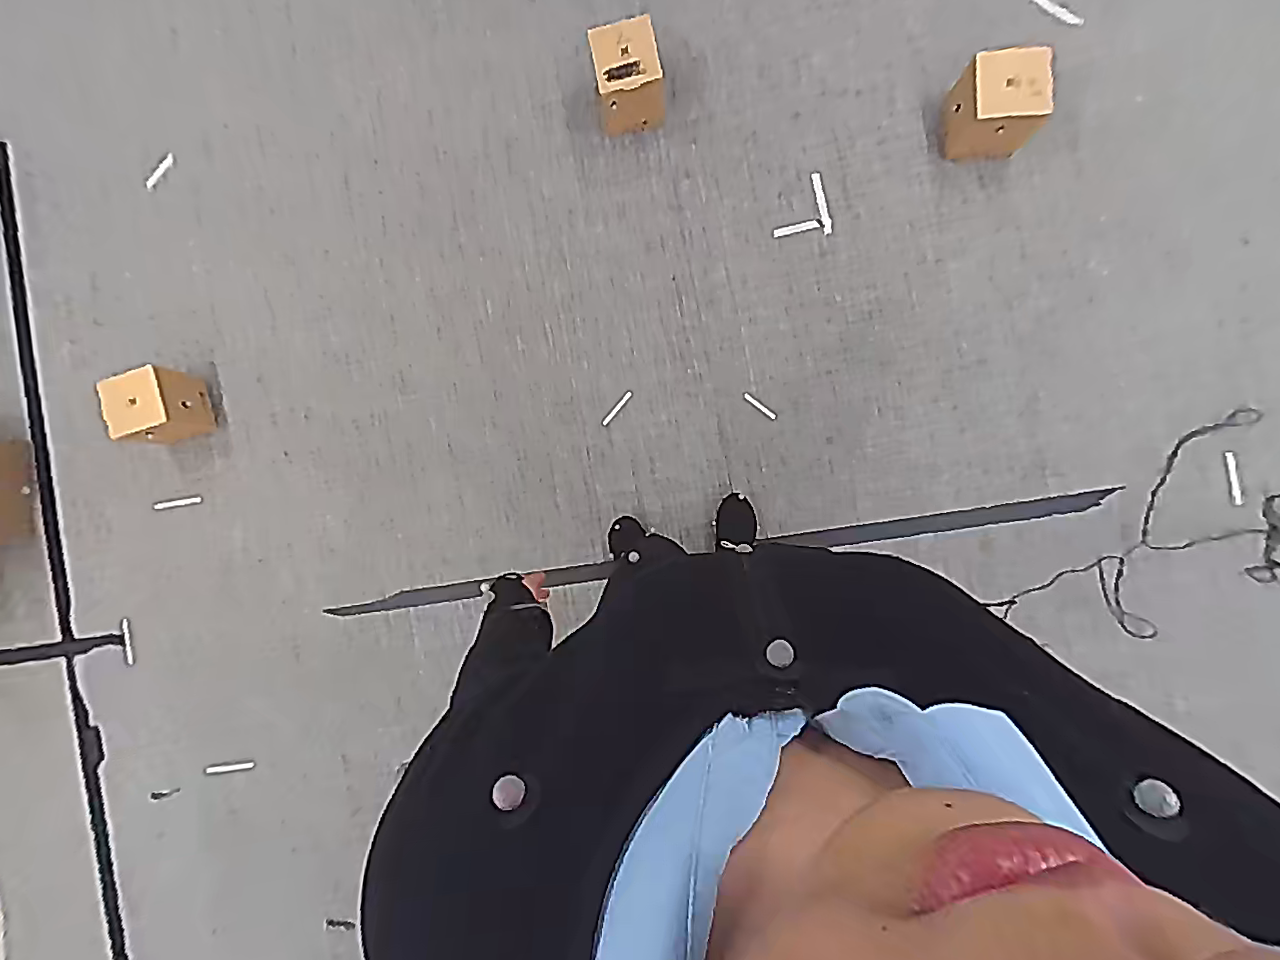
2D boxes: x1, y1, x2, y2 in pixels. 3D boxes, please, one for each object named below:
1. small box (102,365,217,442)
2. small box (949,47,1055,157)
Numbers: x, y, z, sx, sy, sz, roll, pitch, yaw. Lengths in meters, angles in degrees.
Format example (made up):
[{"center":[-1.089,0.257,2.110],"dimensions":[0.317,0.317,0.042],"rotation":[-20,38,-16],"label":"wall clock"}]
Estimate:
[{"center":[-1.364,-0.214,1.552],"dimensions":[0.179,0.176,0.168],"rotation":[-17,88,5],"label":"small box"},{"center":[0.910,-0.950,1.375],"dimensions":[0.179,0.176,0.168],"rotation":[-1,90,4],"label":"small box"}]
